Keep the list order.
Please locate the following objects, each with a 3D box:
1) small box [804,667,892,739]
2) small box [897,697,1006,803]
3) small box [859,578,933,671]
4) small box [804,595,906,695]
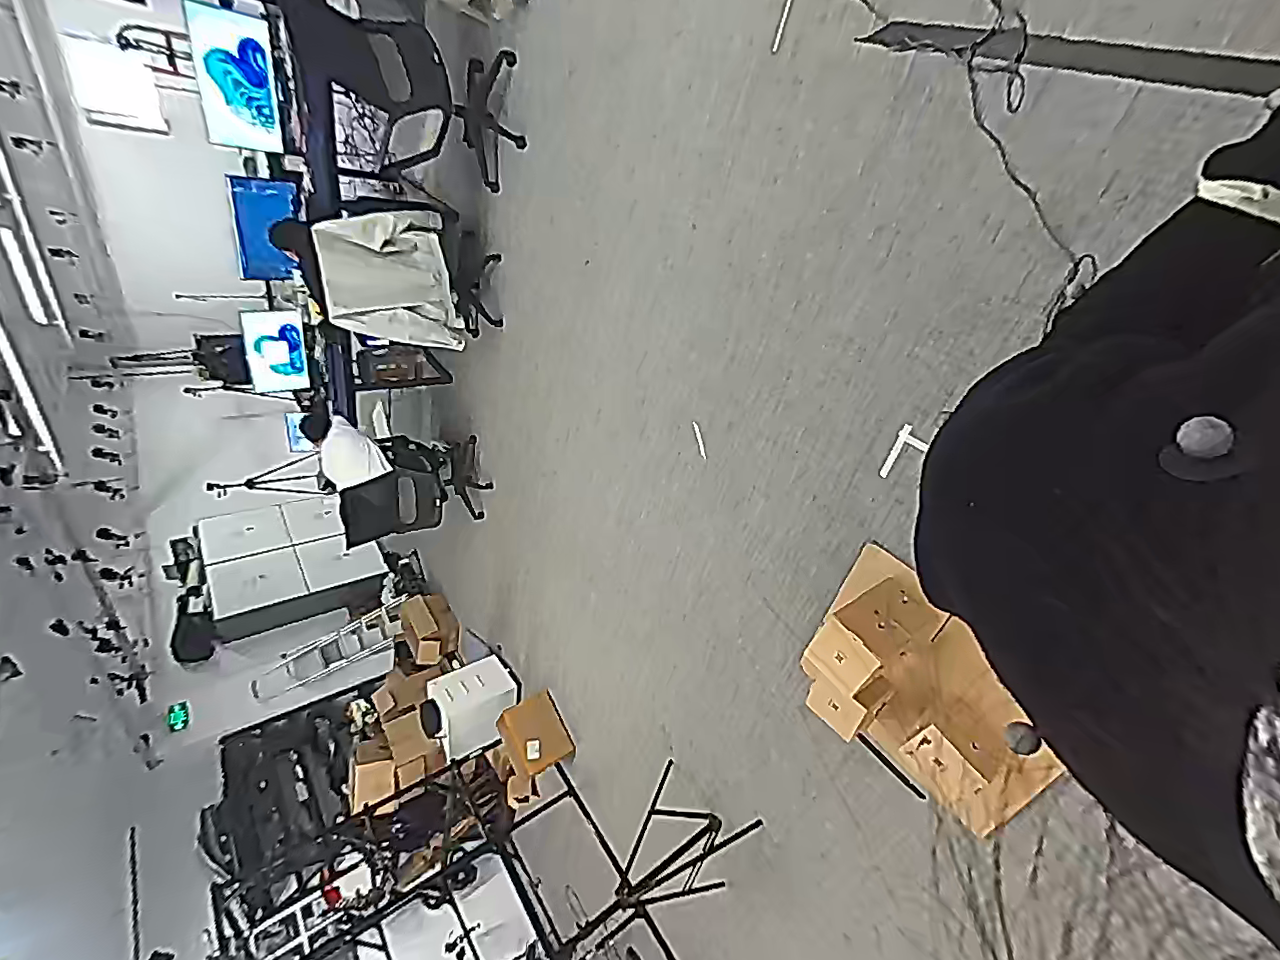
[{"bbox_3d":[0.668,0.681,1.738,0.179,0.176,0.168,38,131,39],"label":"small box"},{"bbox_3d":[0.866,0.743,1.499,0.179,0.176,0.168,49,135,29],"label":"small box"},{"bbox_3d":[0.719,0.418,1.584,0.168,0.176,0.179,42,131,35],"label":"small box"},{"bbox_3d":[0.593,0.449,1.486,0.168,0.176,0.179,46,133,33],"label":"small box"}]
